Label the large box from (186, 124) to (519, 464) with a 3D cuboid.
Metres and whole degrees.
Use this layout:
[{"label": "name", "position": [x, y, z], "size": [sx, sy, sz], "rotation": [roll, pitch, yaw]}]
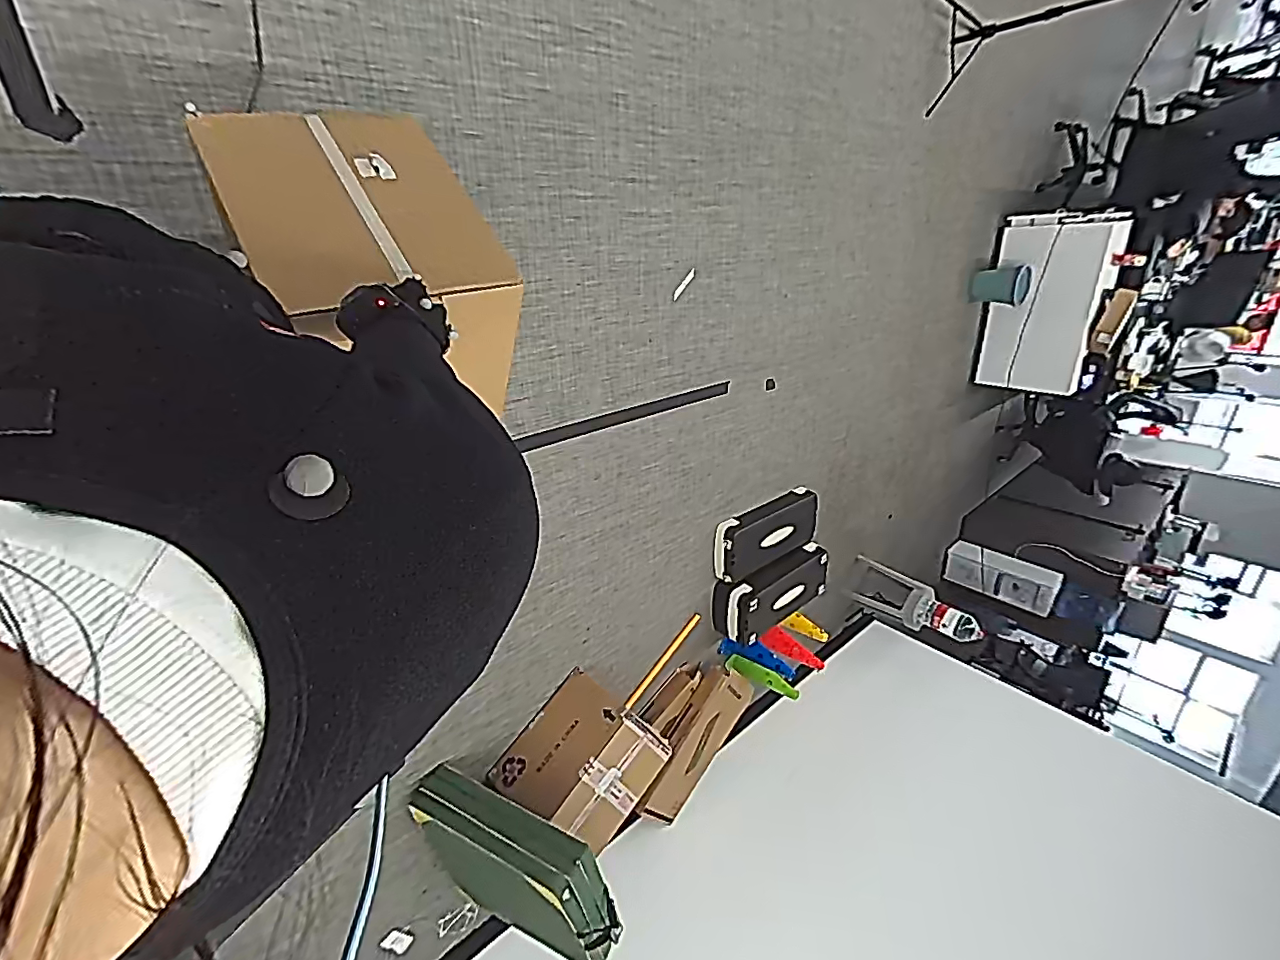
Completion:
[{"label": "large box", "position": [-0.443, -0.302, 0.878], "size": [0.320, 0.408, 0.320], "rotation": [-22, 157, -33]}]
